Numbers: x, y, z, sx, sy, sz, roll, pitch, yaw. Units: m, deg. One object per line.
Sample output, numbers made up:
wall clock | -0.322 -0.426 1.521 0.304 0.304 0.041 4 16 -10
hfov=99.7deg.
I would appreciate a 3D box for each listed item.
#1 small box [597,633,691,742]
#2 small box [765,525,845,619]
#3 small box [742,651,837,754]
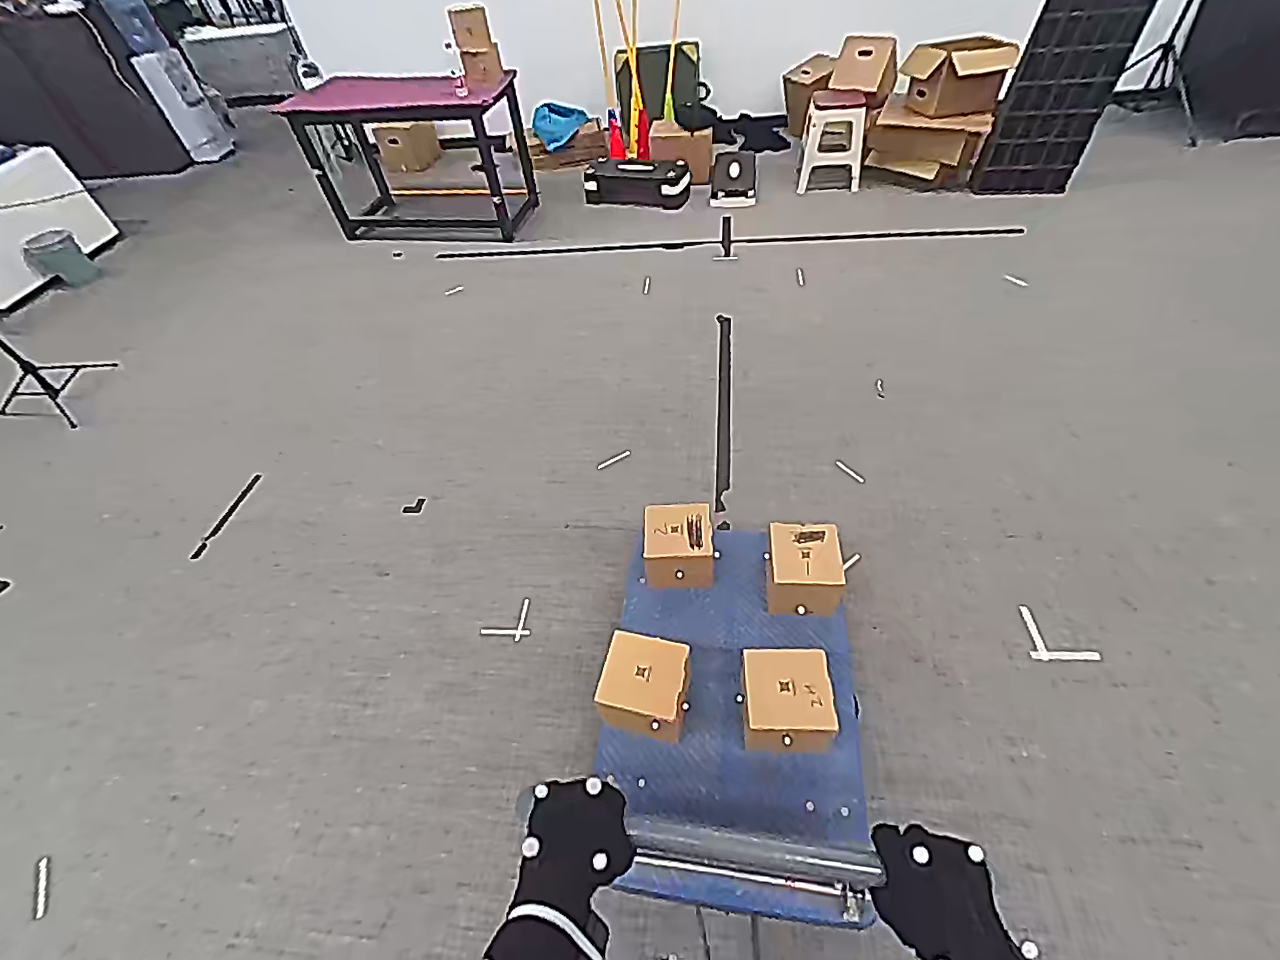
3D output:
small box | 0.016 0.474 1.231 0.179 0.176 0.168 8 50 12
small box | 0.415 0.237 1.389 0.168 0.176 0.179 0 50 8
small box | 0.316 0.488 1.182 0.179 0.176 0.168 -1 49 6
